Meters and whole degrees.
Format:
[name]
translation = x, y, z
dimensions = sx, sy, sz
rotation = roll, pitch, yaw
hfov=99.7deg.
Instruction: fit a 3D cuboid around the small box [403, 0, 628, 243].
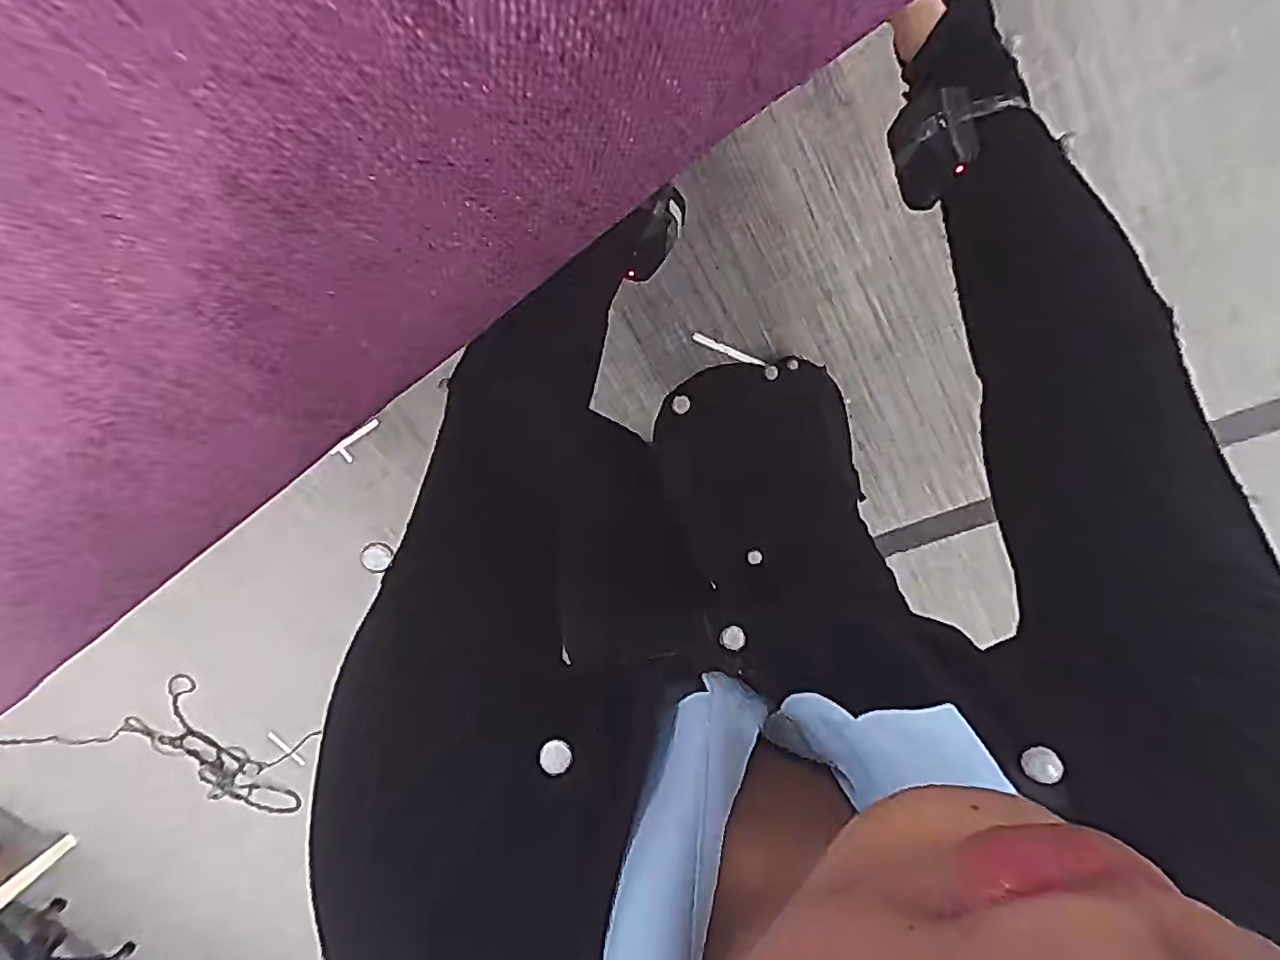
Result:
[small box]
translation = -0.131, -0.414, 0.647
dimensions = 0.168, 0.176, 0.179
rotation = -25, 111, 20
